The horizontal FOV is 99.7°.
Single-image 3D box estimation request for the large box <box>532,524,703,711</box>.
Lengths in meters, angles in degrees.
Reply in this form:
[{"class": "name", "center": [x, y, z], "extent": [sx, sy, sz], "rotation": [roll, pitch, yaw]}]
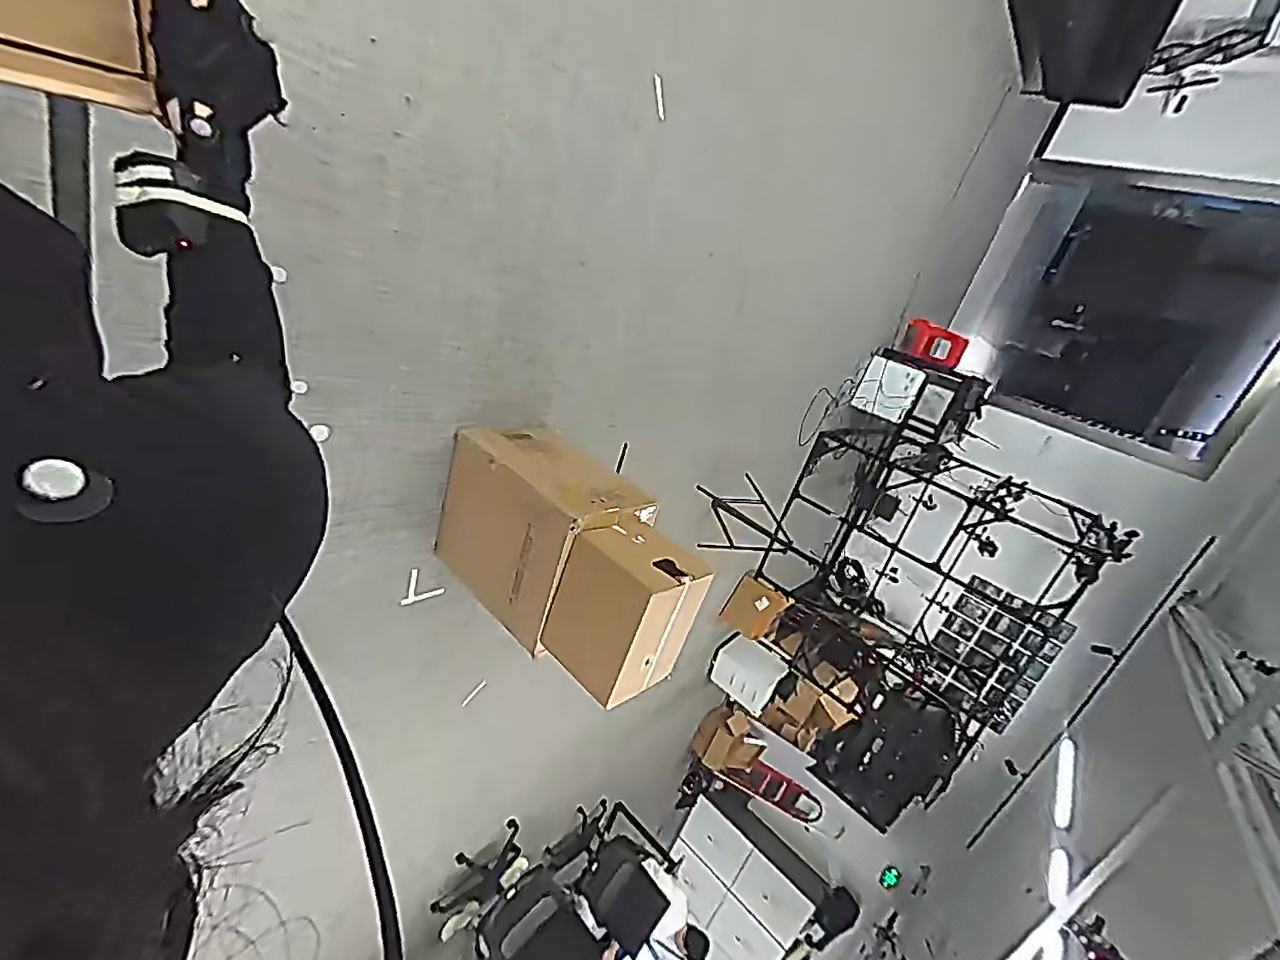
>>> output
[{"class": "large box", "center": [-0.074, 0.393, 1.633], "extent": [0.320, 0.320, 0.408], "rotation": [-4, 121, -51]}]
